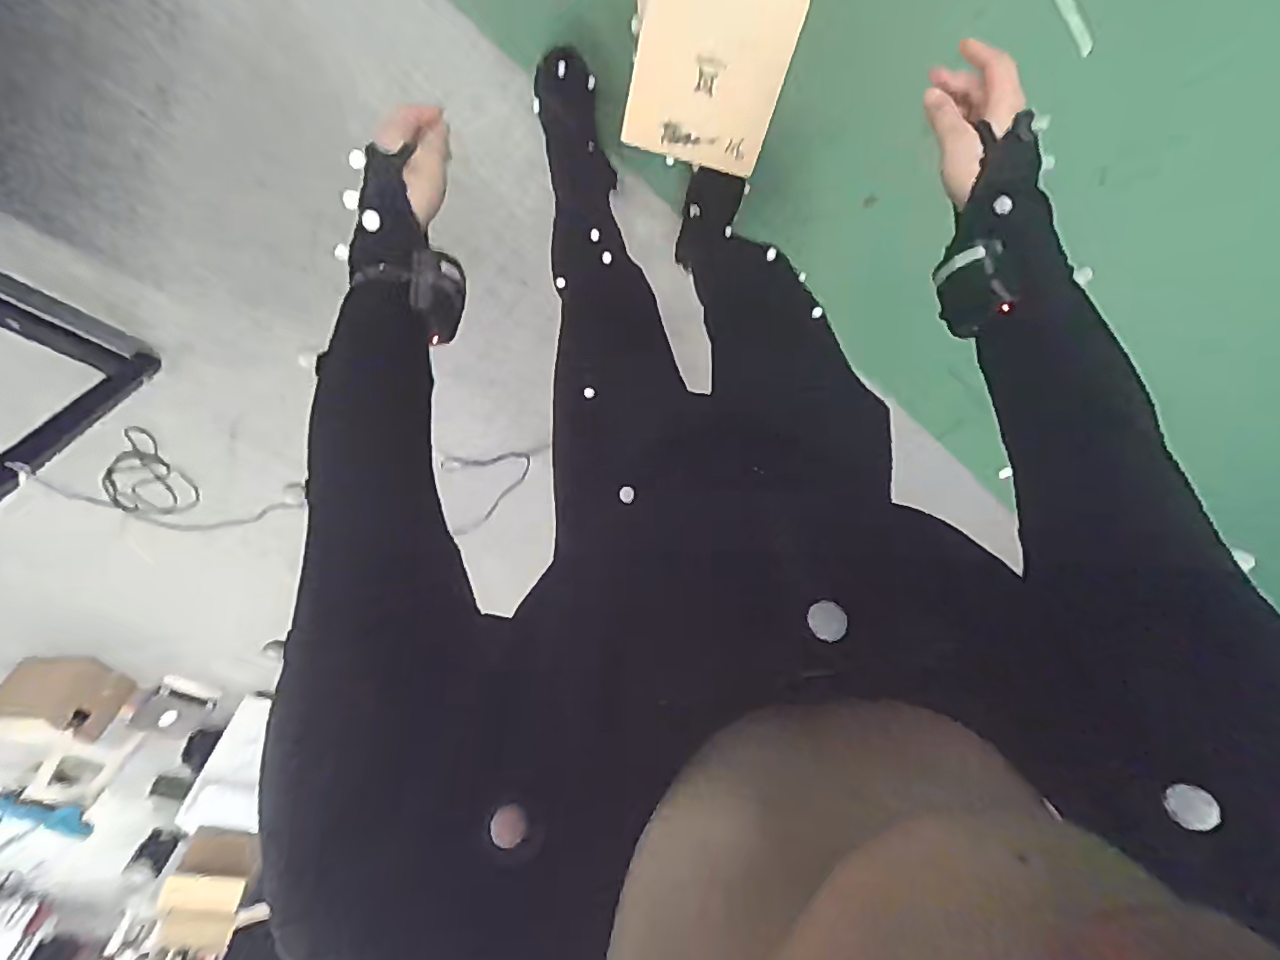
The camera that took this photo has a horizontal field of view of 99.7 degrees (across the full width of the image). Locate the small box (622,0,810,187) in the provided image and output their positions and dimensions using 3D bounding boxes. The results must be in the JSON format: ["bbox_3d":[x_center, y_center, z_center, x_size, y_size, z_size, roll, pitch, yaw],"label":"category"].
[{"bbox_3d":[0.079,-0.490,0.652,0.168,0.176,0.179,12,132,-7],"label":"small box"}]
